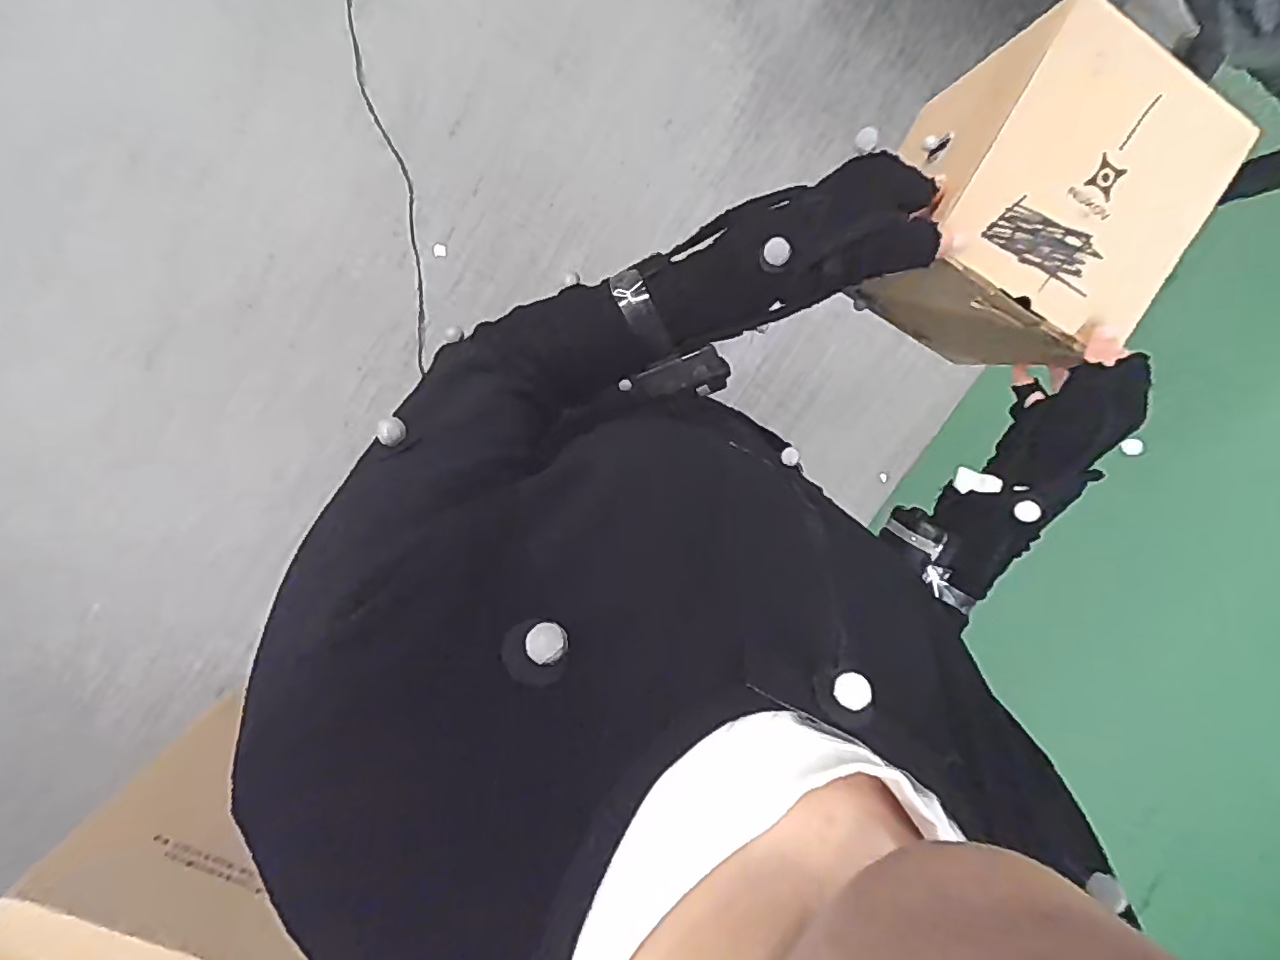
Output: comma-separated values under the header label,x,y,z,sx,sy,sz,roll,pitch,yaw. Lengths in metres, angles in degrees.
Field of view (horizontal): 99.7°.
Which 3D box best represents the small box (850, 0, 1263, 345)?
label,x,y,z,sx,sy,sz,roll,pitch,yaw
small box,0.302,-0.223,0.440,0.168,0.176,0.179,27,97,-11
